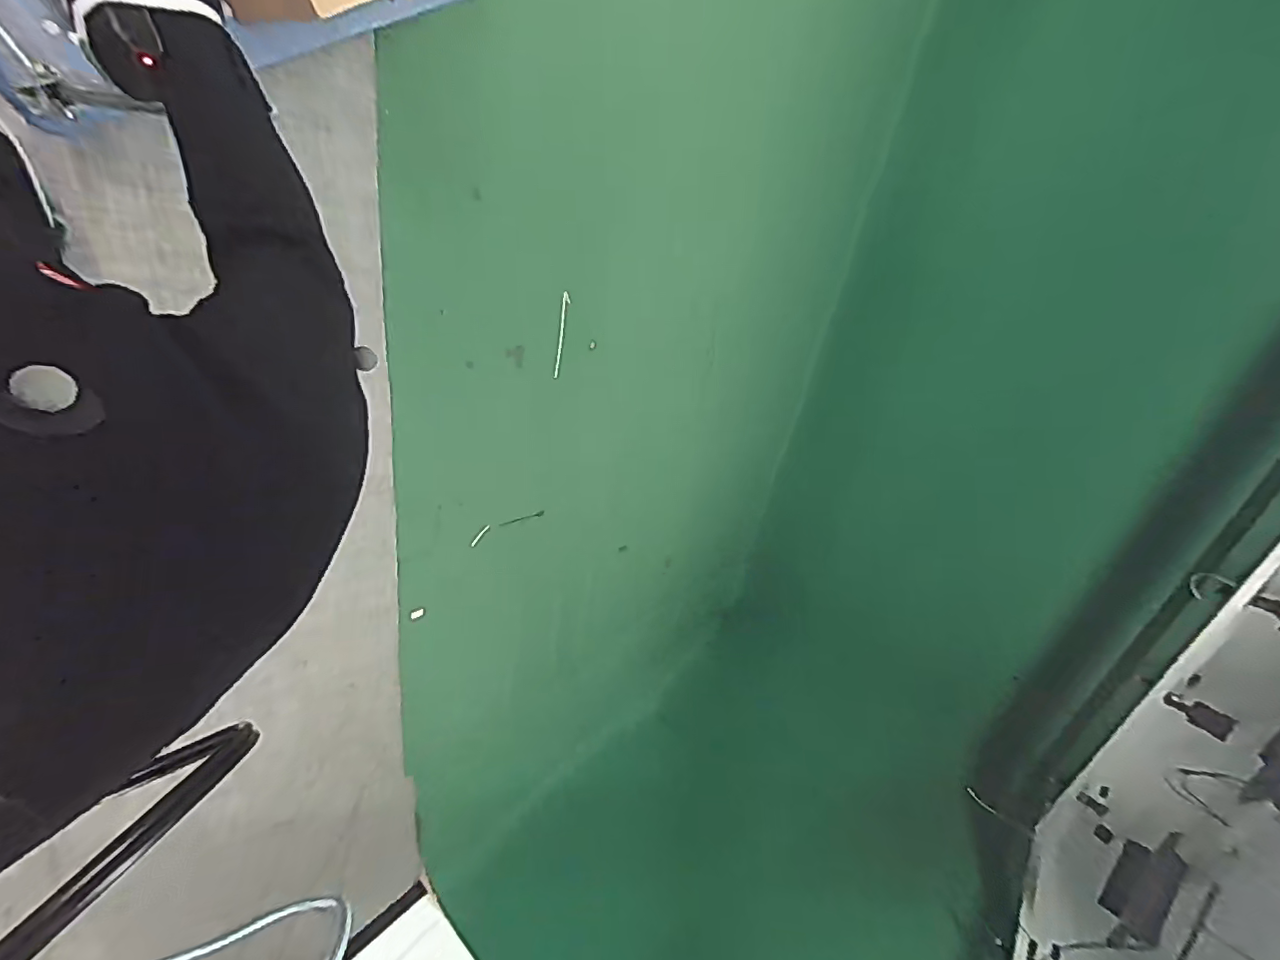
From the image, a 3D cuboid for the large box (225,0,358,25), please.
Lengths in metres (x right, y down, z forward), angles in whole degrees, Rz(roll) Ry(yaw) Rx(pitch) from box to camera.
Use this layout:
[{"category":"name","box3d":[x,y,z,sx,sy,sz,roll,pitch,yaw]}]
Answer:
[{"category":"large box","box3d":[-0.517,-0.935,0.747,0.320,0.320,0.408,-47,145,-23]}]
